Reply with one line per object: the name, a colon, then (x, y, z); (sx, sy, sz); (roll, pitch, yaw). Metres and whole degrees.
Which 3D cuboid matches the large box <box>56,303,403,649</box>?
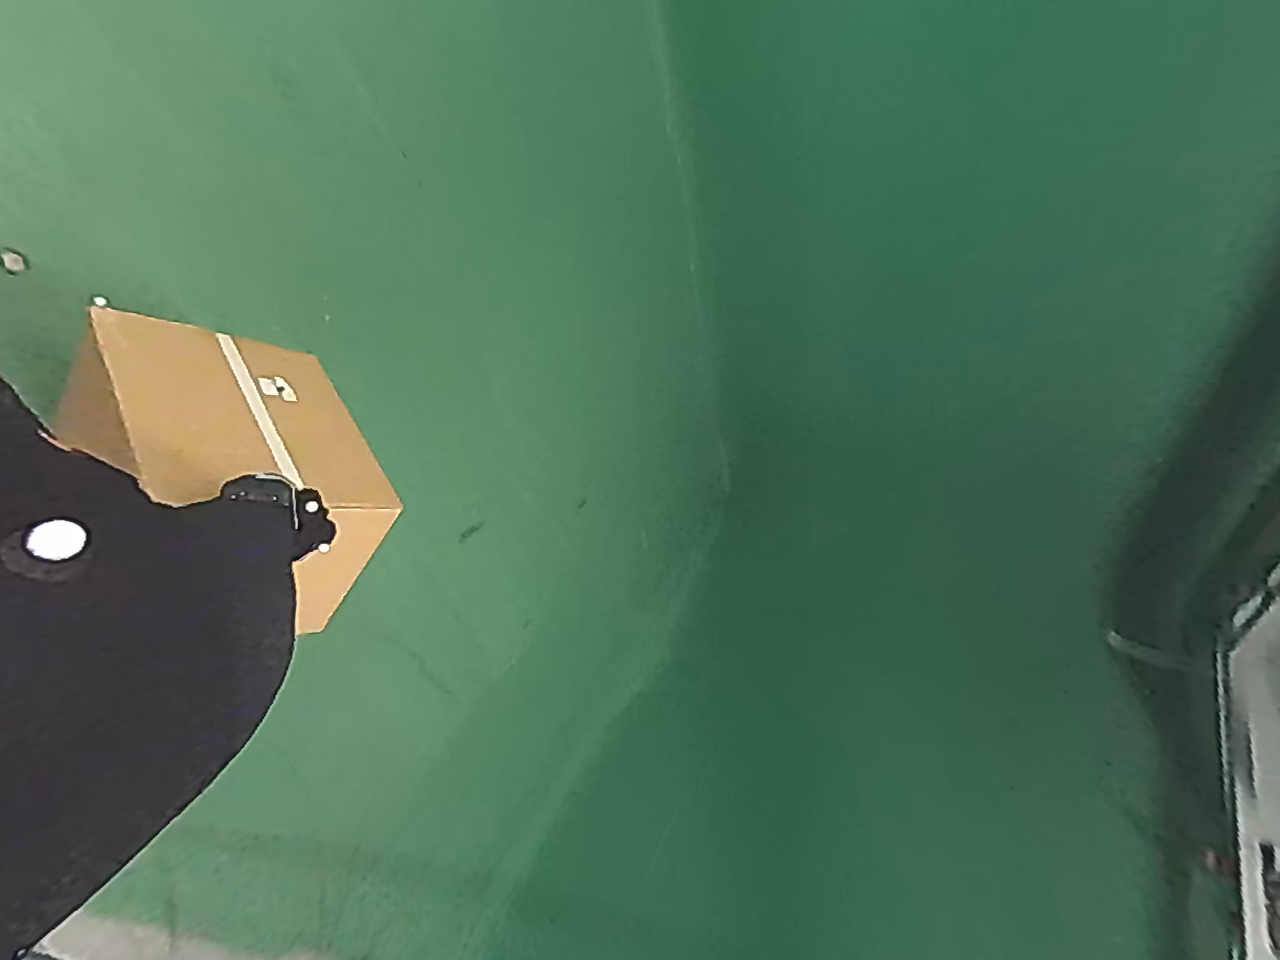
large box: (-0.669, -0.007, 0.878); (0.320, 0.408, 0.320); (-50, 155, 20)
